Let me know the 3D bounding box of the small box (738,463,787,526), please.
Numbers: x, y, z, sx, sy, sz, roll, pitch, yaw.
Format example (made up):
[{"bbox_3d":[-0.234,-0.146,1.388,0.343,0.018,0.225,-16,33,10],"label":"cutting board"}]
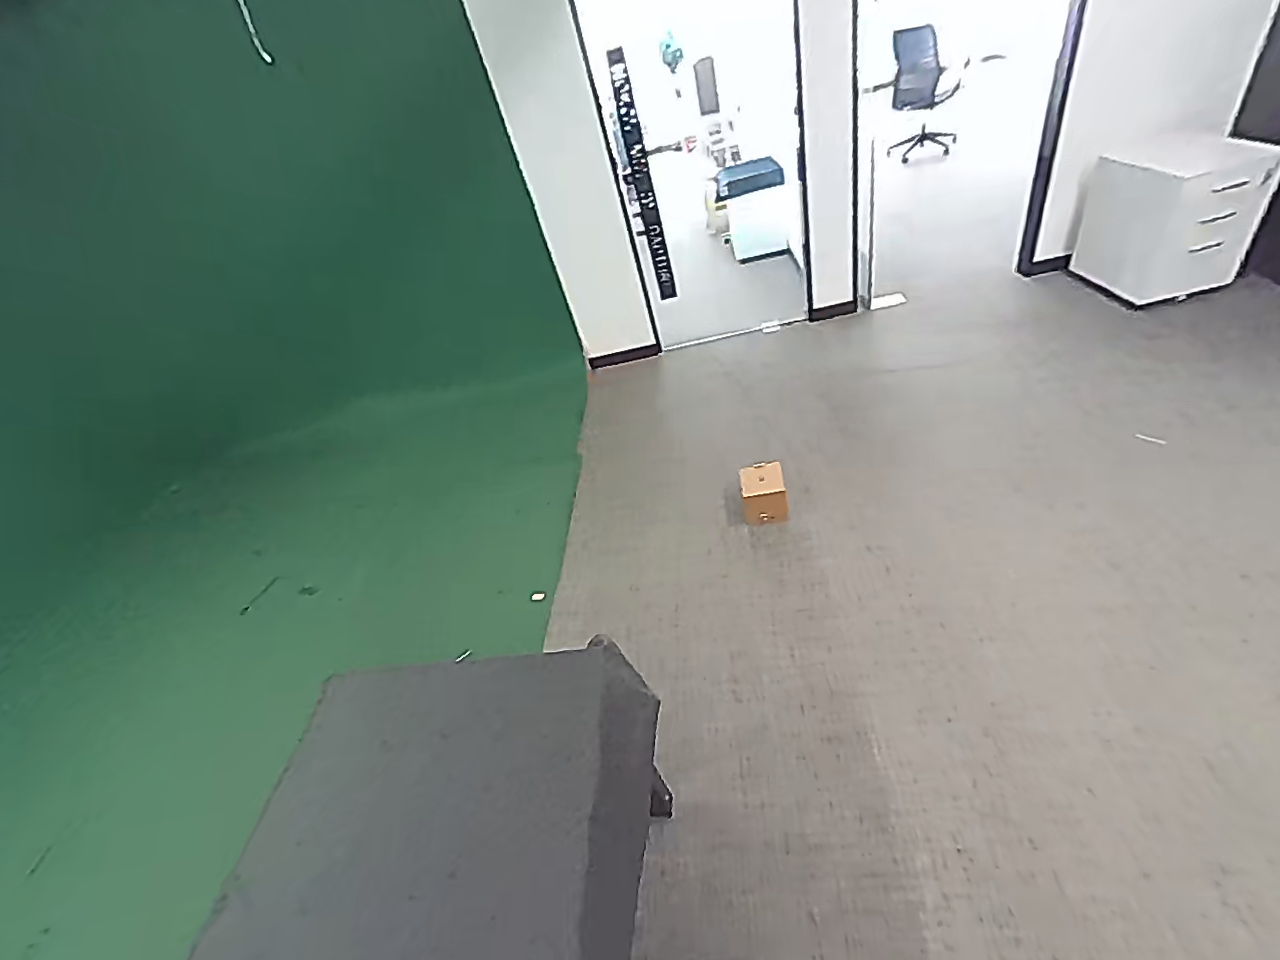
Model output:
[{"bbox_3d":[0.489,0.059,2.166,0.168,0.176,0.179,-9,39,14],"label":"small box"}]
